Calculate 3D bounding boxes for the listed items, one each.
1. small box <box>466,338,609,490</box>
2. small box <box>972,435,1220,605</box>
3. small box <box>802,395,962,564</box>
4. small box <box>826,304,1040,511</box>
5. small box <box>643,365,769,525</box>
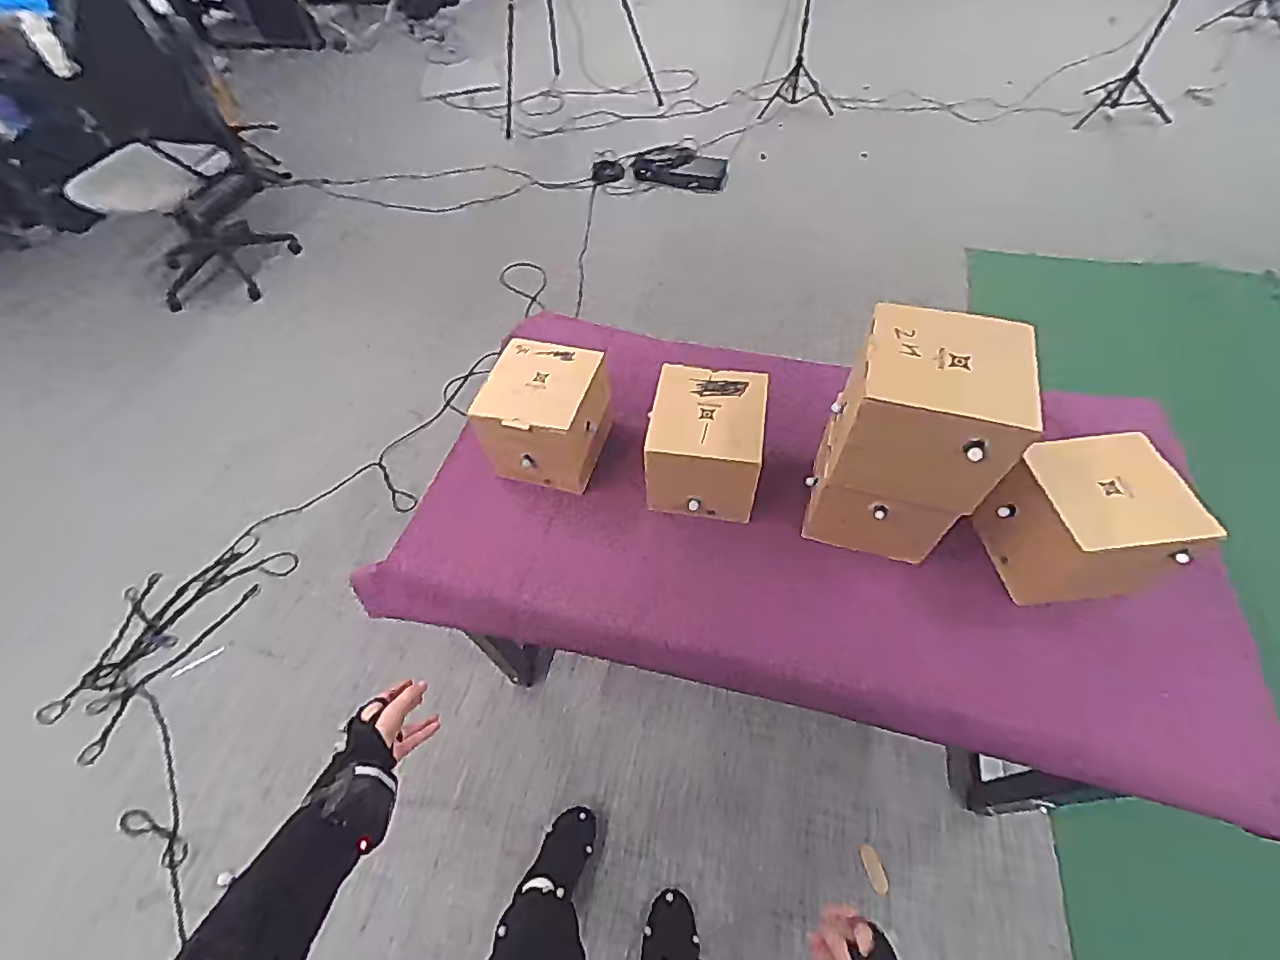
[{"bbox_3d":[-0.156,-0.106,0.903,0.168,0.176,0.179,12,57,11],"label":"small box"},{"bbox_3d":[0.597,0.061,0.746,0.179,0.176,0.168,-6,54,-1],"label":"small box"},{"bbox_3d":[0.350,0.003,0.800,0.179,0.176,0.168,14,57,13],"label":"small box"},{"bbox_3d":[0.345,-0.083,0.660,0.179,0.176,0.168,14,57,13],"label":"small box"},{"bbox_3d":[0.102,-0.054,0.853,0.168,0.176,0.179,8,56,9],"label":"small box"}]
